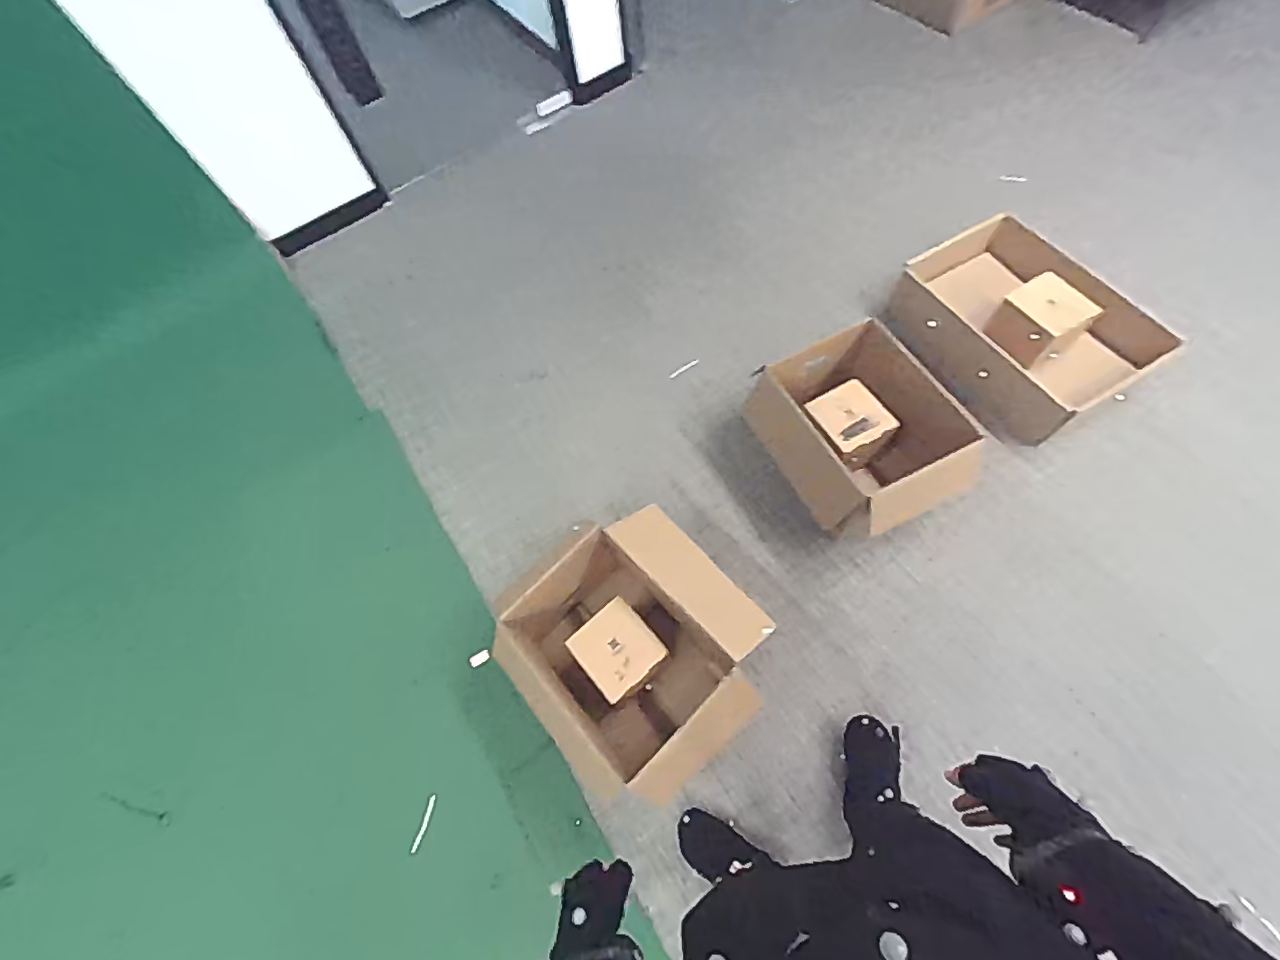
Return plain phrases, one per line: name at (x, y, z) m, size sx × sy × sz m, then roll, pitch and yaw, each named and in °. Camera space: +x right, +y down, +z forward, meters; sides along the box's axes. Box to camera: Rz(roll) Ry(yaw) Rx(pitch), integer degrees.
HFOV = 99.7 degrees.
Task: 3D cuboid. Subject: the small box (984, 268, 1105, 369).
small box at (1.111, -0.445, 1.504) m, size 0.168 × 0.176 × 0.179 m, roll -29°, pitch 64°, yaw -8°
